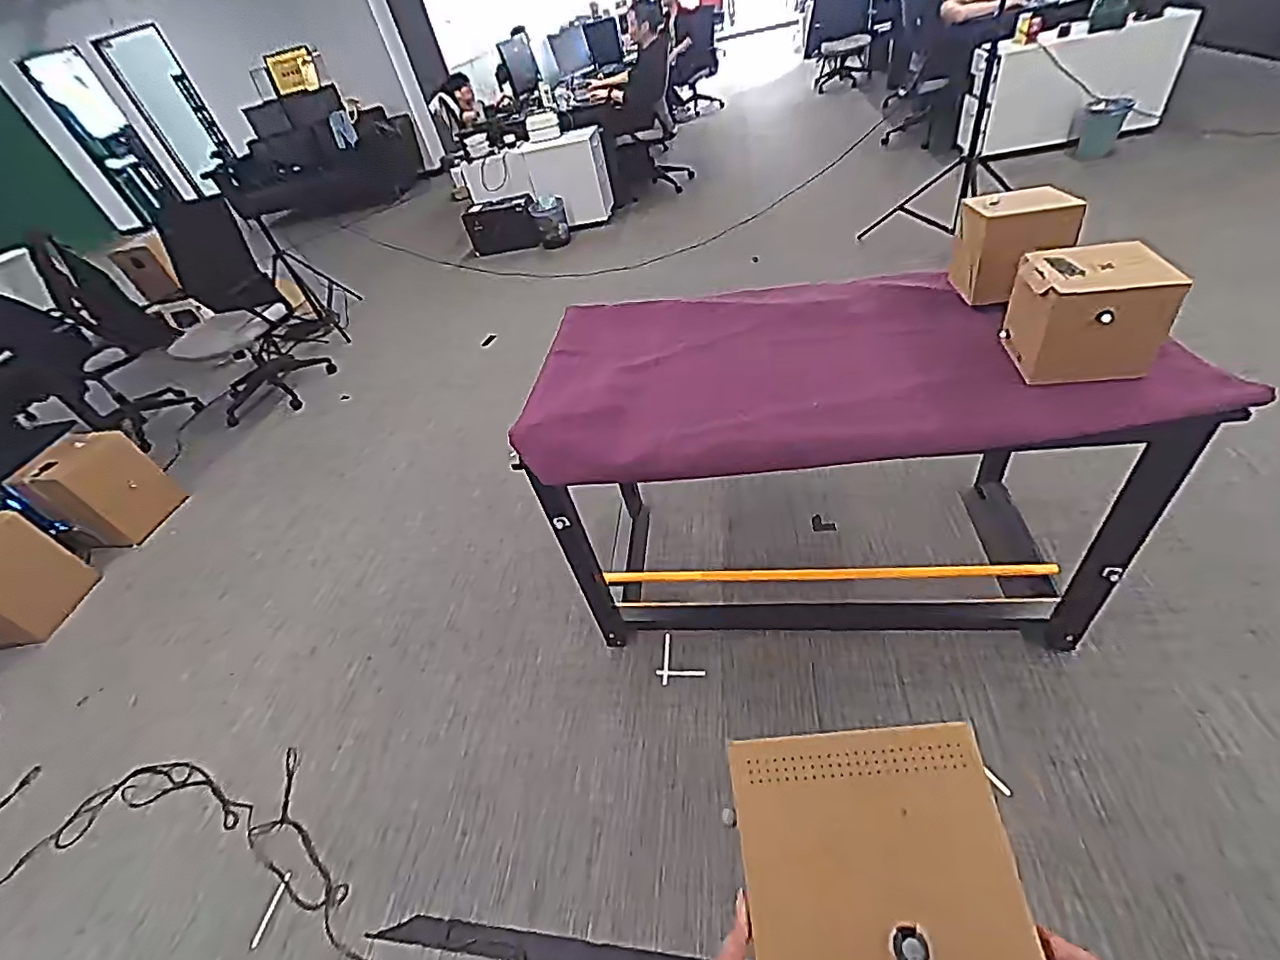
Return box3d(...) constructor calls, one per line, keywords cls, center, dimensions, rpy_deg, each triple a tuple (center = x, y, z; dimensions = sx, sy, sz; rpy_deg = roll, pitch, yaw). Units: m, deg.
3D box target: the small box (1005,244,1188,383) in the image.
box3d(cls="small box", center=(0.753, -0.279, 0.923), dimensions=(0.179, 0.176, 0.168), rpy_deg=(-2, 43, 14))
